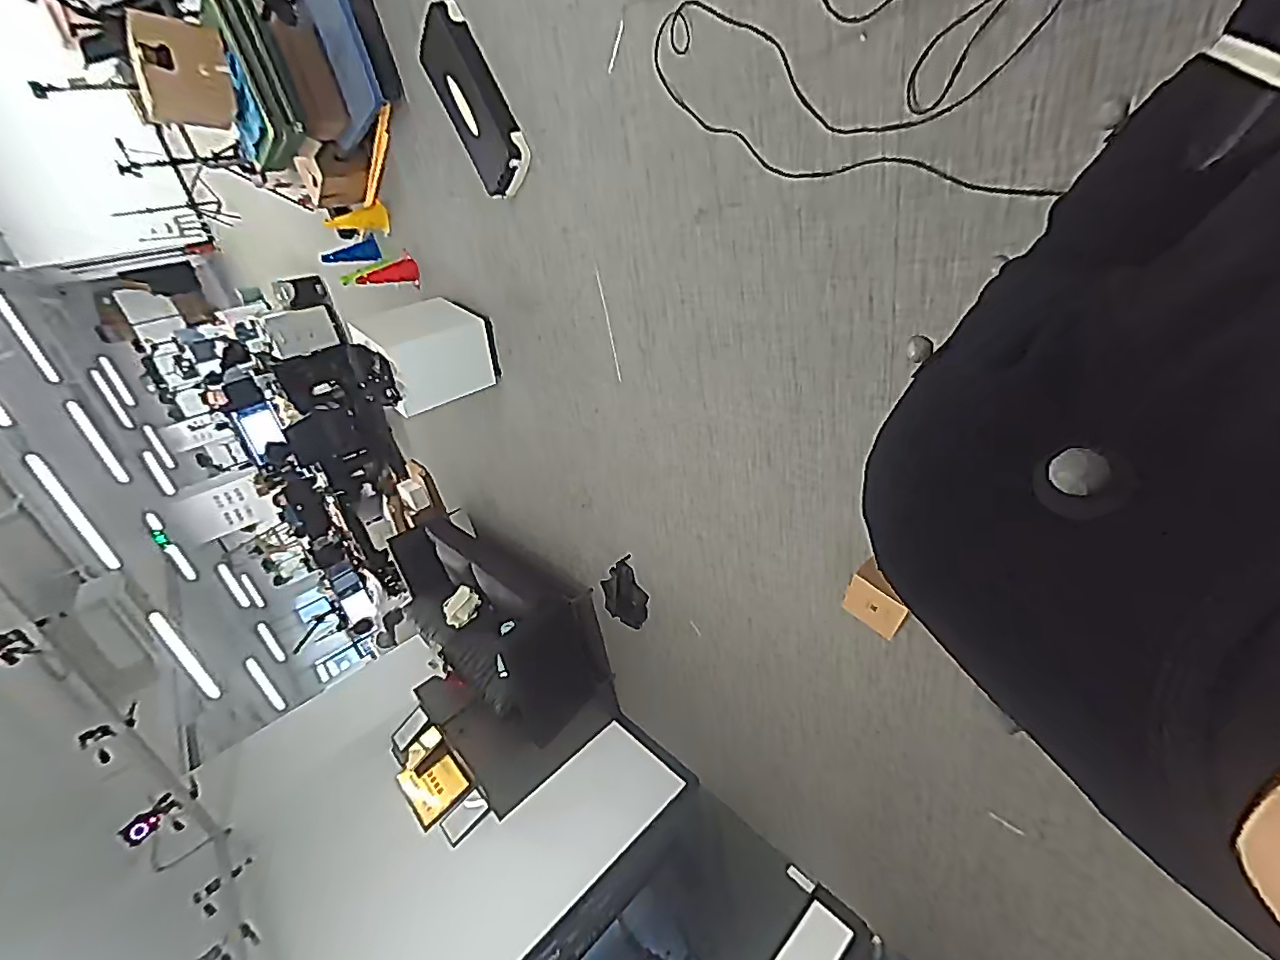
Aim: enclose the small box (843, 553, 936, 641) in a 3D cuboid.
[{"bbox_3d":[0.763,0.348,1.657,0.179,0.176,0.168,35,141,33],"label":"small box"}]
